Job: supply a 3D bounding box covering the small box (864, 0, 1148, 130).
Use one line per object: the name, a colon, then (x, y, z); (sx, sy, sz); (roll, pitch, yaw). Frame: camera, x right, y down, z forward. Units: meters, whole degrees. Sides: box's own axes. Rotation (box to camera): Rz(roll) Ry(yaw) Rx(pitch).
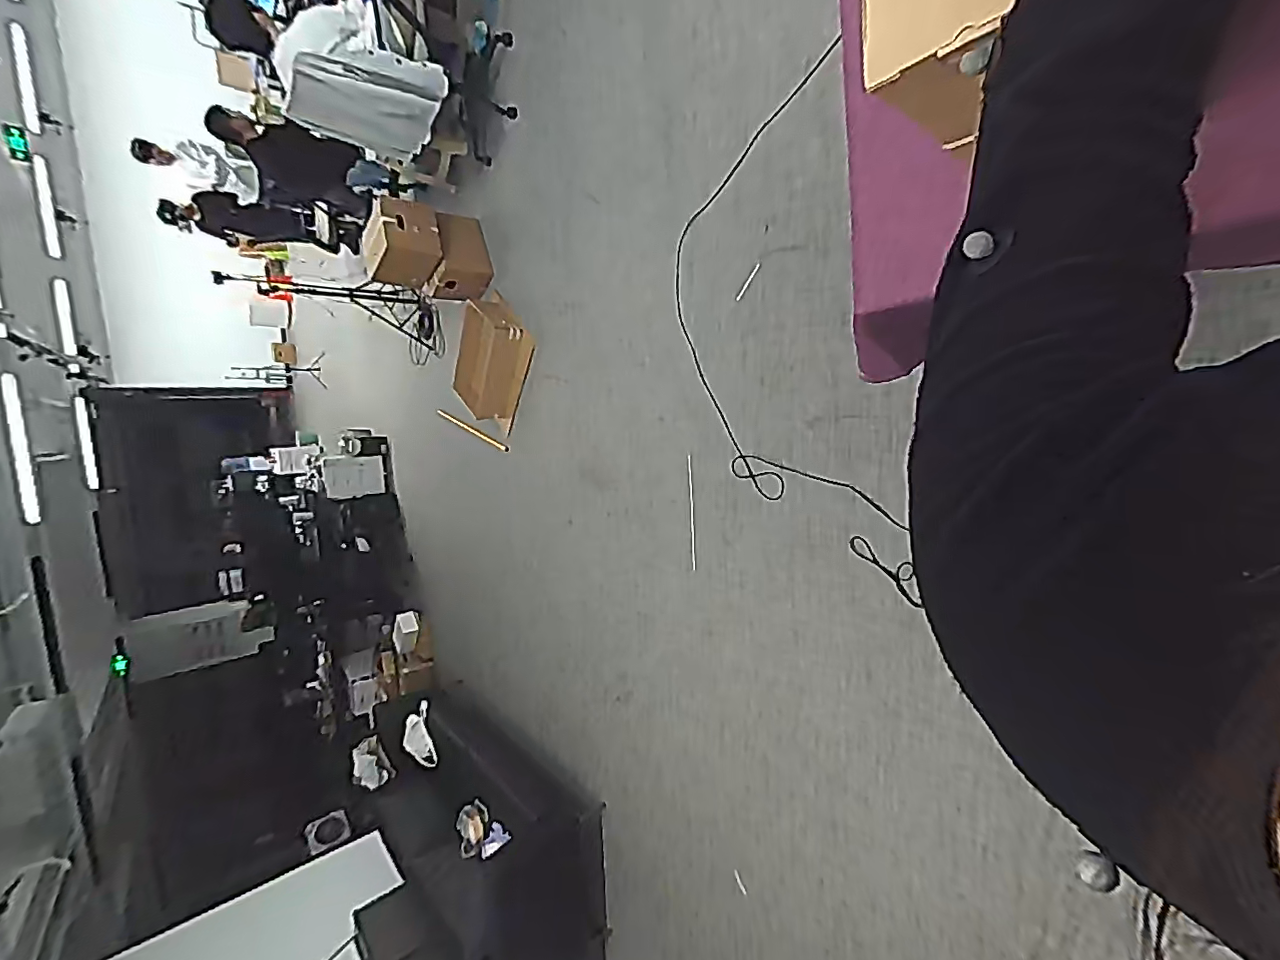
small box: (0.310, -0.431, 0.459); (0.168, 0.176, 0.179); (4, 99, 50)
